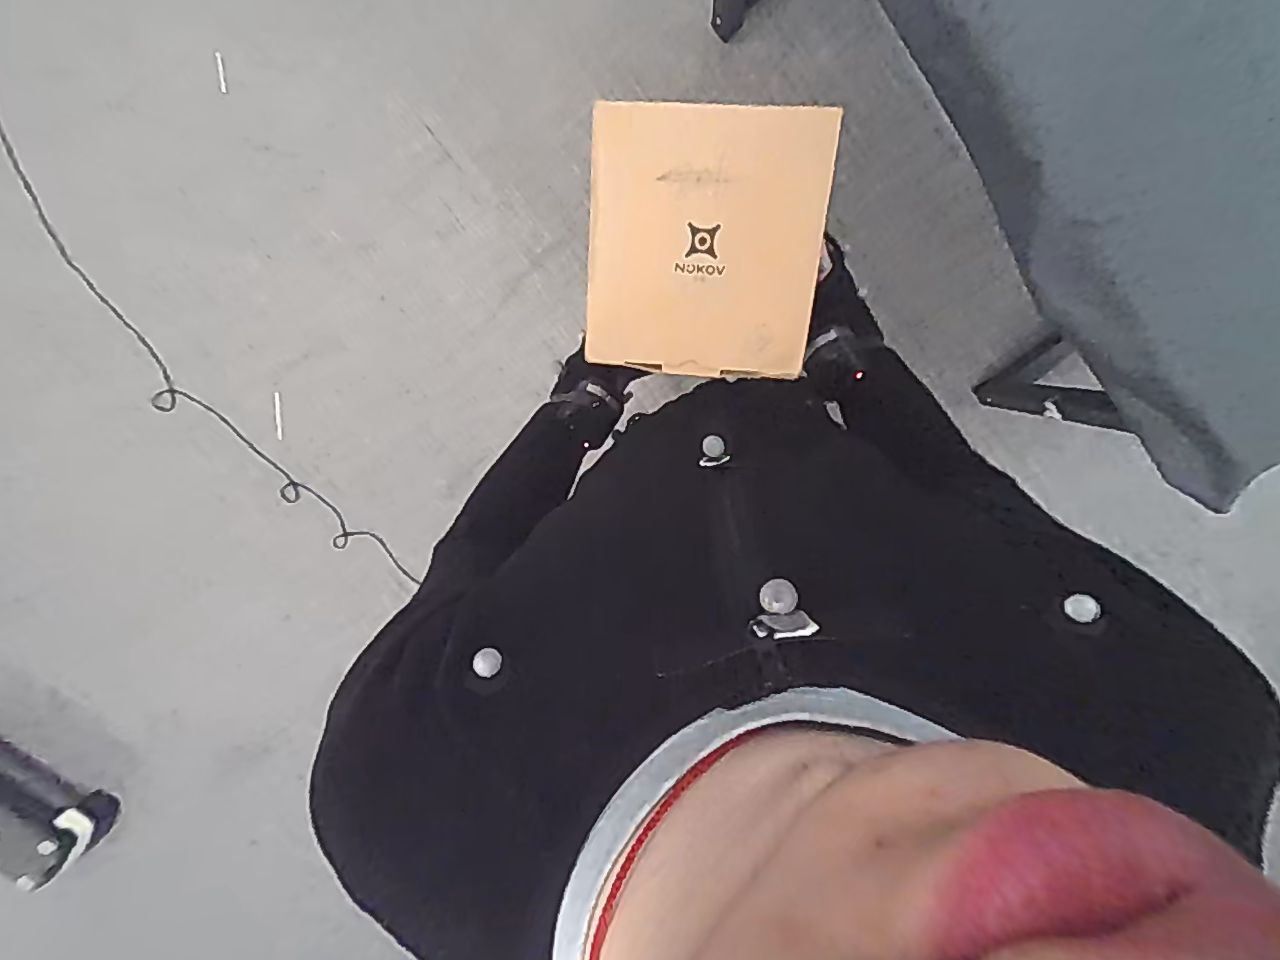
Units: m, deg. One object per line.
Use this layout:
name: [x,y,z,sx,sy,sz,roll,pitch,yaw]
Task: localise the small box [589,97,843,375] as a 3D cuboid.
small box: [0.055,-0.191,0.455,0.168,0.176,0.179,4,108,5]
